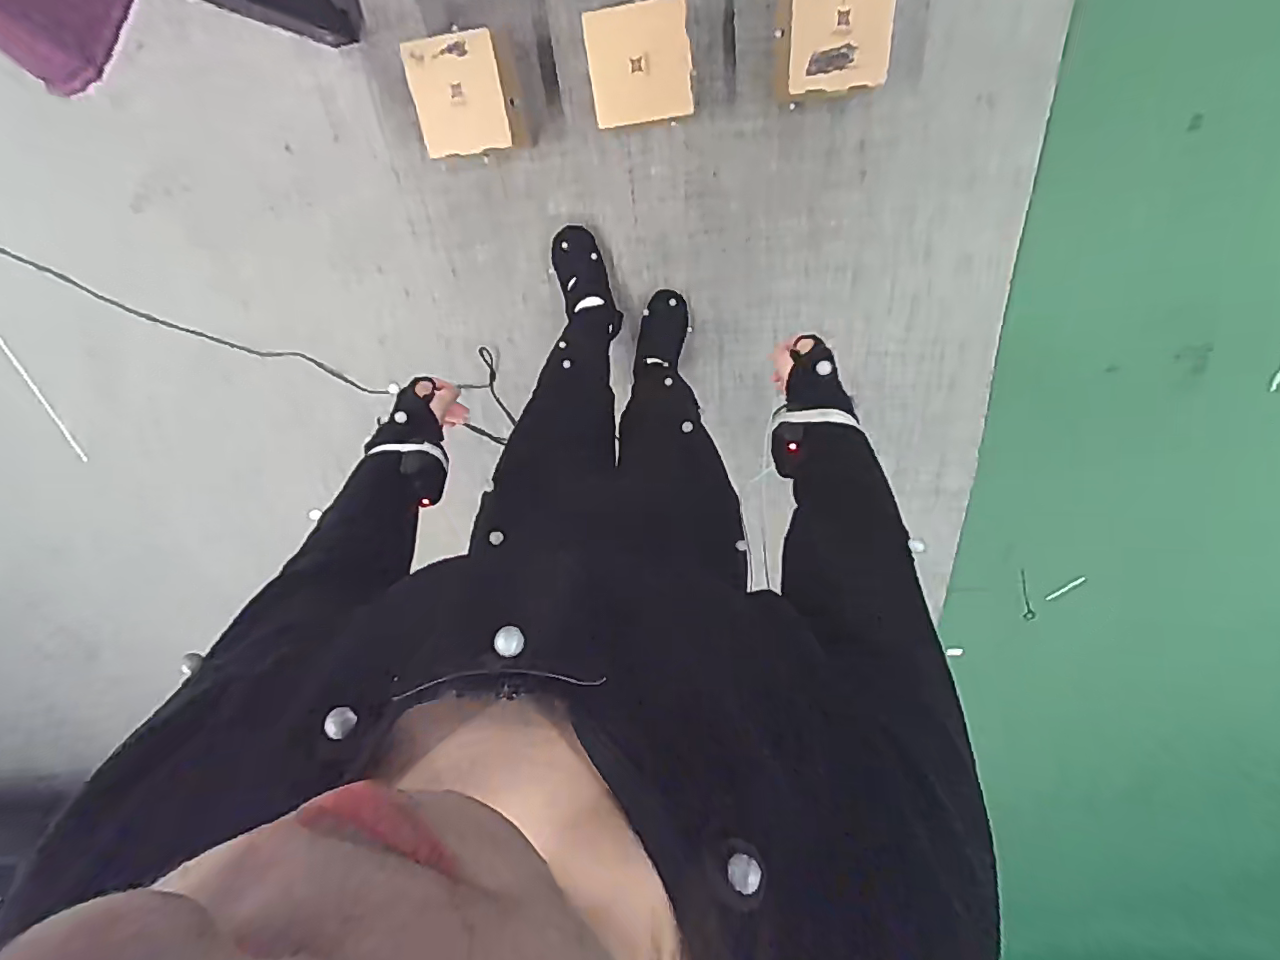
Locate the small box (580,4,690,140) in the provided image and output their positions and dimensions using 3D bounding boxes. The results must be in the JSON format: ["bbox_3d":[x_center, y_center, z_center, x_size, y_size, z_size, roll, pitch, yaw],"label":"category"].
[{"bbox_3d":[0.000,-0.742,1.003,0.179,0.176,0.168,-5,119,7],"label":"small box"}]

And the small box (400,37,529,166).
[{"bbox_3d":[-0.324,-0.717,1.039,0.168,0.176,0.179,-6,120,5],"label":"small box"}]
